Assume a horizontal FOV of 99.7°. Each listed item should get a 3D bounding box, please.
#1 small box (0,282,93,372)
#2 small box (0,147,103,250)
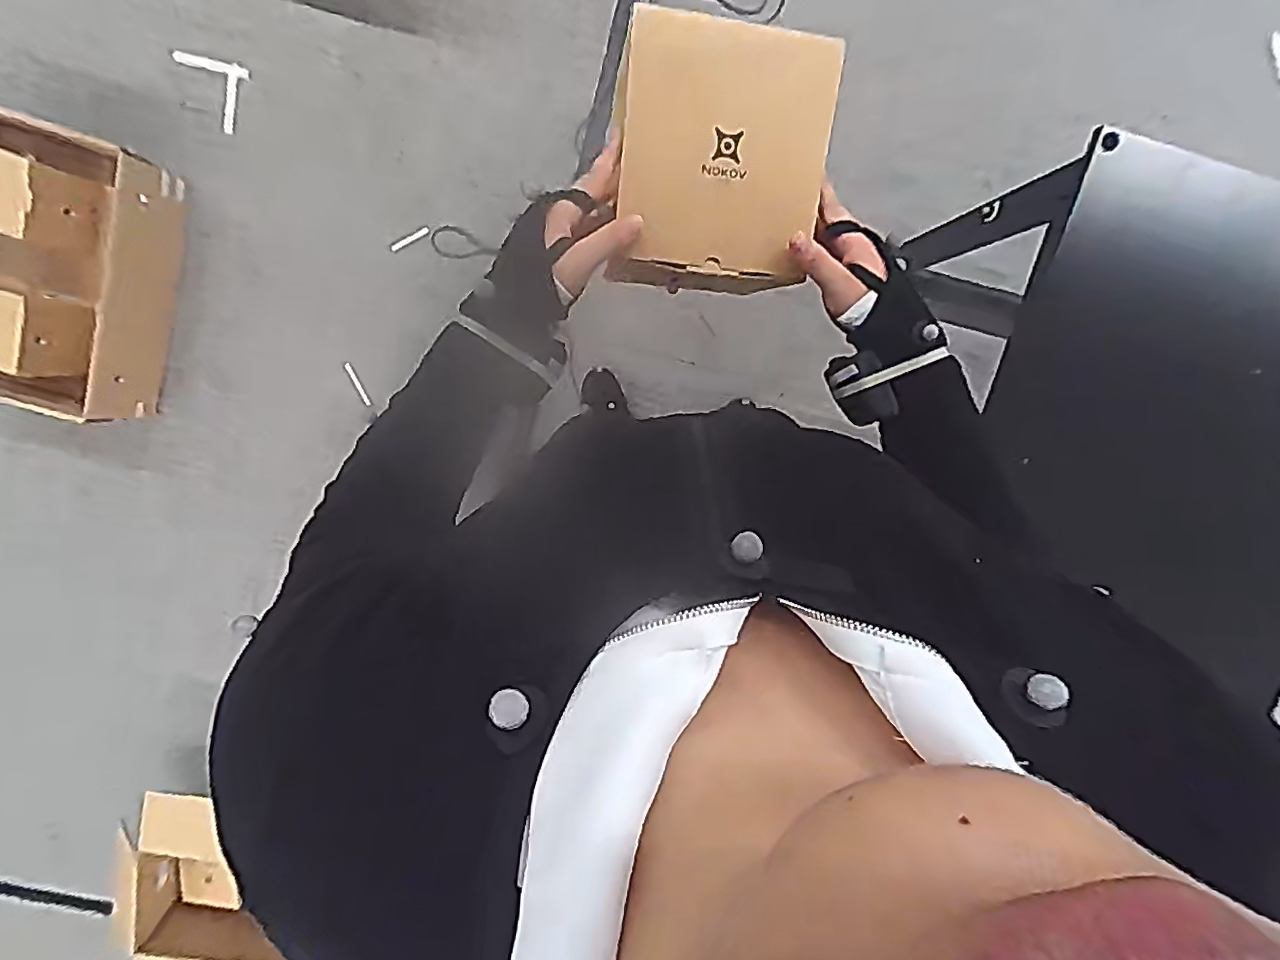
[{"bbox_3d":[-1.436,-0.354,1.254,0.168,0.176,0.179,15,98,-7],"label":"small box"},{"bbox_3d":[-1.367,-0.632,1.206,0.179,0.176,0.168,18,100,-7],"label":"small box"}]
